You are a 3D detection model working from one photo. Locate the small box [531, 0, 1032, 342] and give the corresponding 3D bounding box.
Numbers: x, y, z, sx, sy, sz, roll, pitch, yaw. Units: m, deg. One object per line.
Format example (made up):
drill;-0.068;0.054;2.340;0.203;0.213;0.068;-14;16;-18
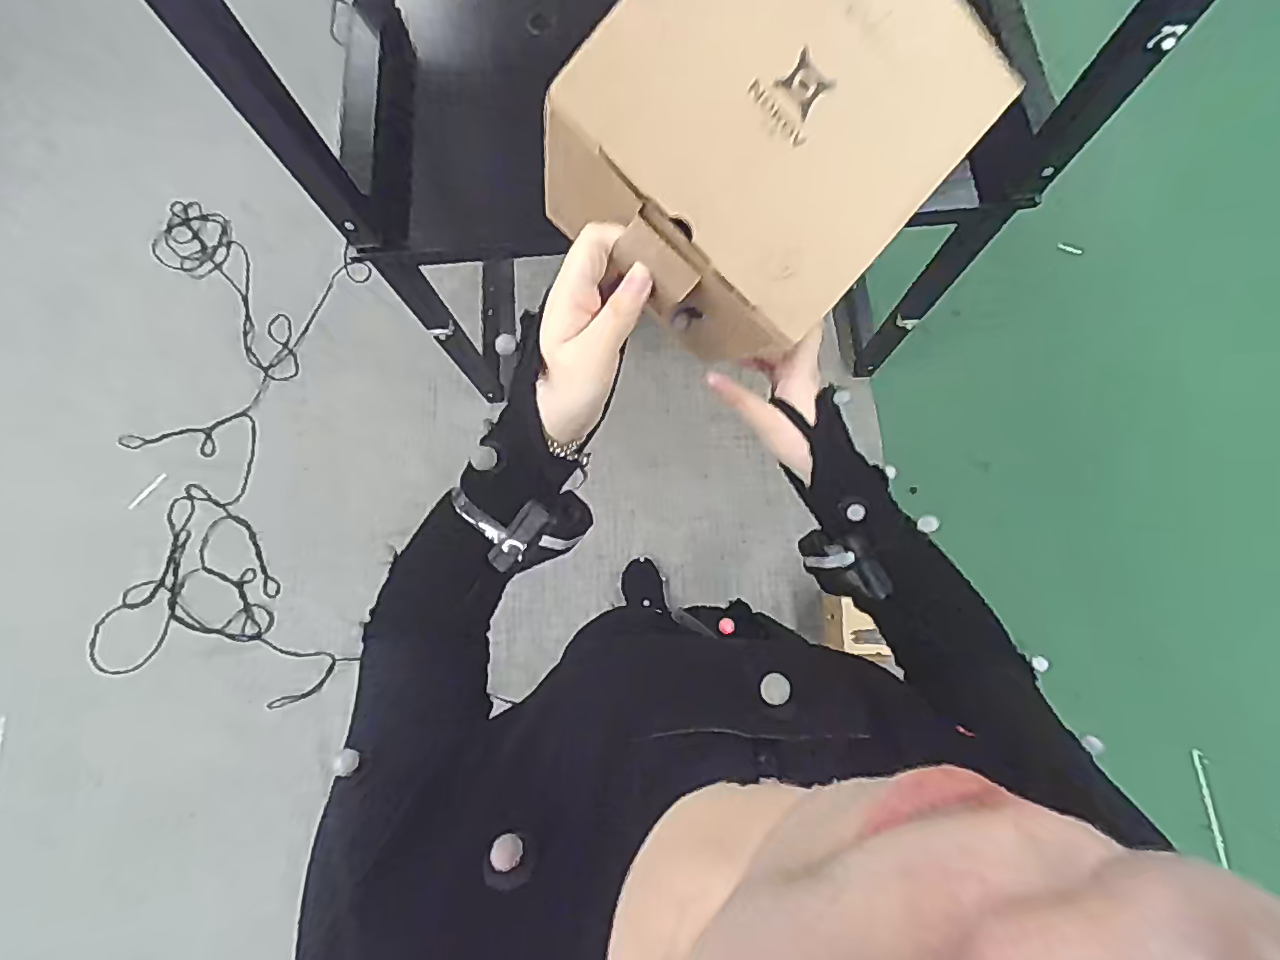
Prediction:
small box;0.057;-0.197;0.315;0.168;0.176;0.179;39;93;-16
